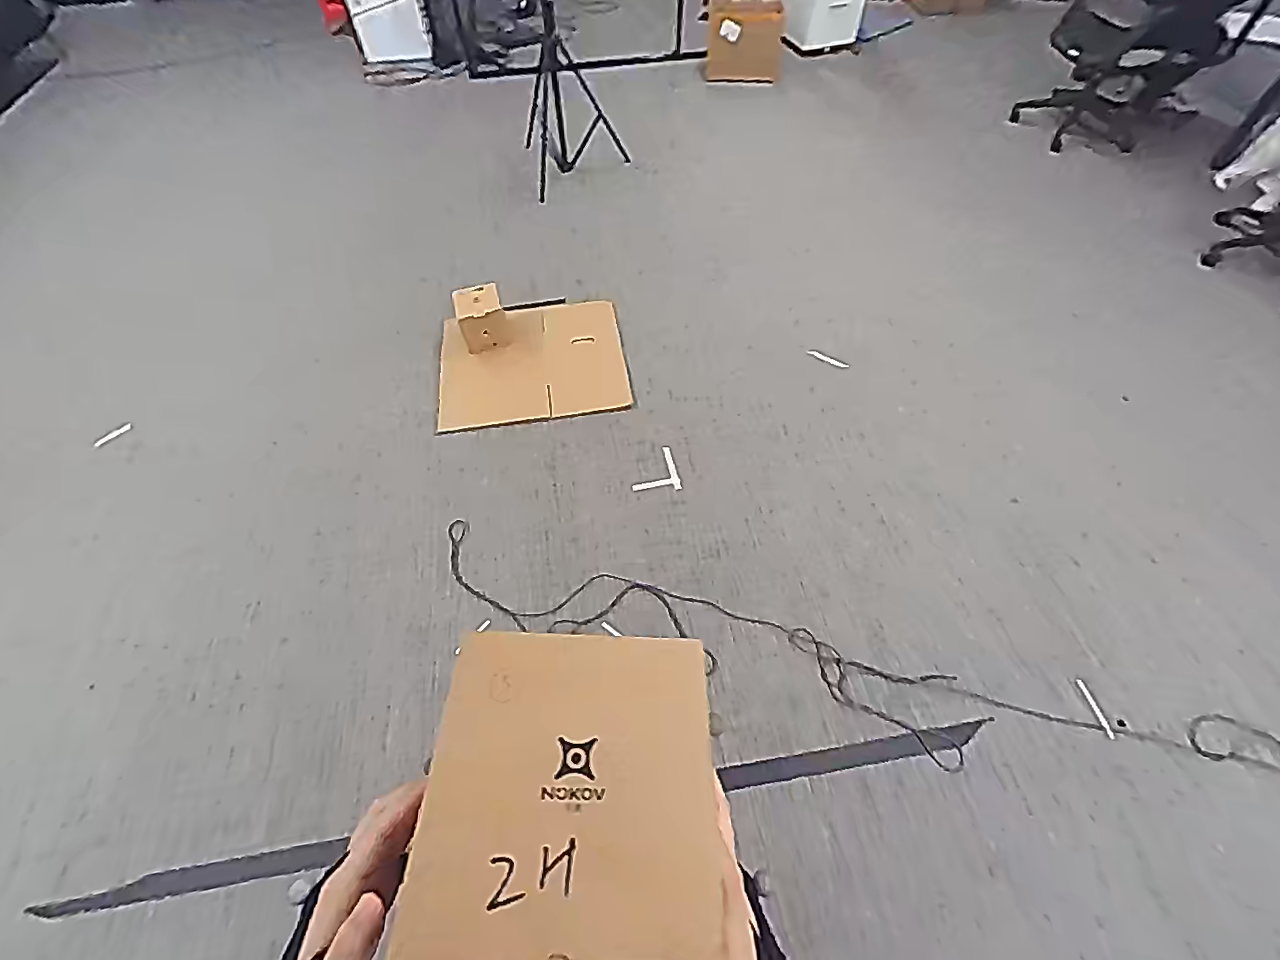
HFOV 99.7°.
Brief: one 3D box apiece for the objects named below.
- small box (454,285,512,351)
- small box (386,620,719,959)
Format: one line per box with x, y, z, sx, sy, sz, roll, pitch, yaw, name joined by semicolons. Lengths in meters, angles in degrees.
-0.603;-0.619;2.089;0.168;0.176;0.179;-15;57;-8;small box
-0.046;0.217;0.376;0.168;0.176;0.179;2;49;-2;small box
